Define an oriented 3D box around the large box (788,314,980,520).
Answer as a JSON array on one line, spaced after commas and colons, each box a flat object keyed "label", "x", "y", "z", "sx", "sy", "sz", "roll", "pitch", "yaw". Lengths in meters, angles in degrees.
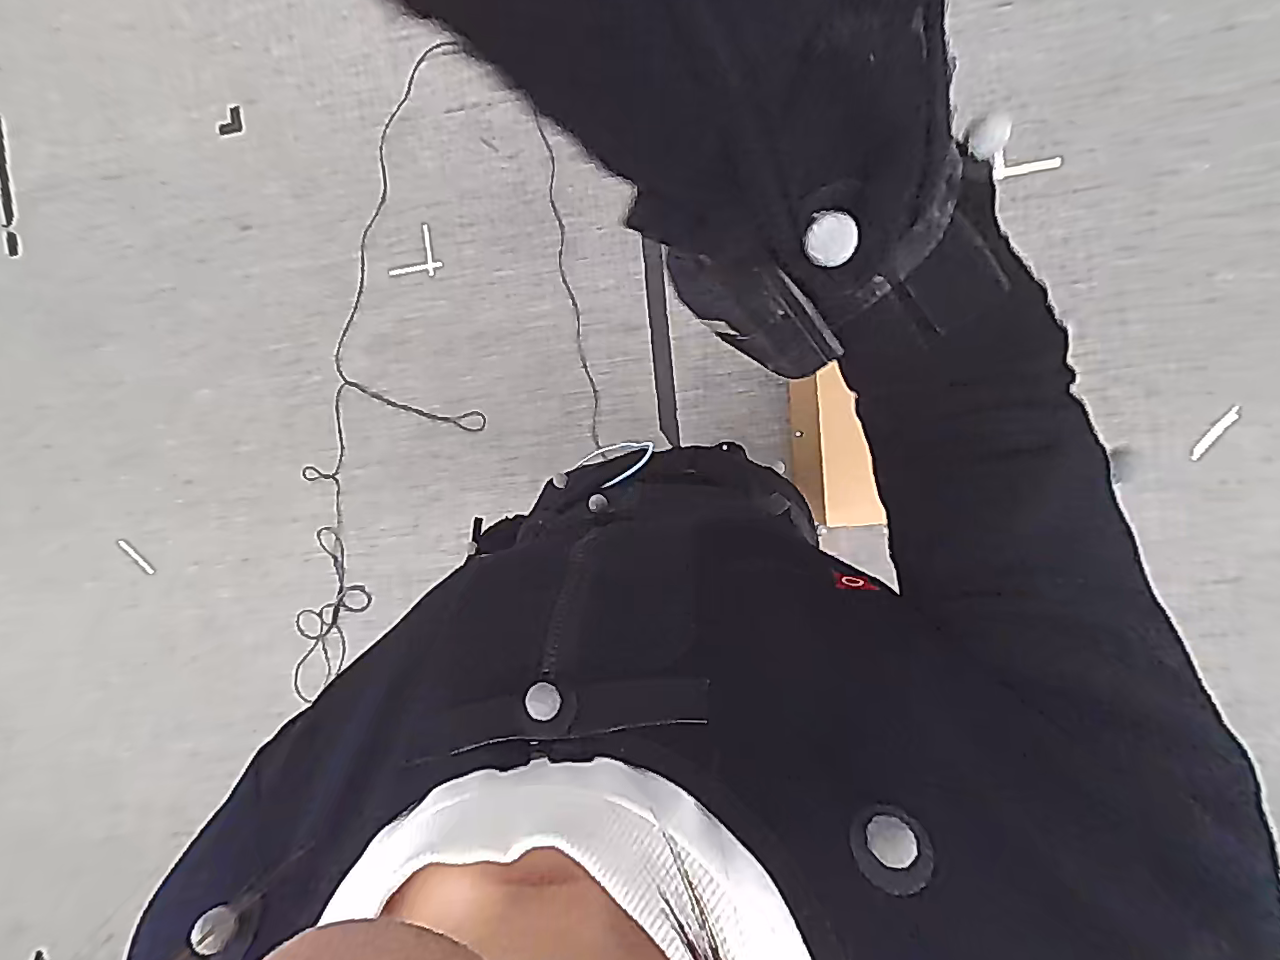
[{"label": "large box", "x": 0.538, "y": -0.130, "z": 1.258, "sx": 0.320, "sy": 0.320, "sz": 0.408, "roll": -5, "pitch": 92, "yaw": 4}]
